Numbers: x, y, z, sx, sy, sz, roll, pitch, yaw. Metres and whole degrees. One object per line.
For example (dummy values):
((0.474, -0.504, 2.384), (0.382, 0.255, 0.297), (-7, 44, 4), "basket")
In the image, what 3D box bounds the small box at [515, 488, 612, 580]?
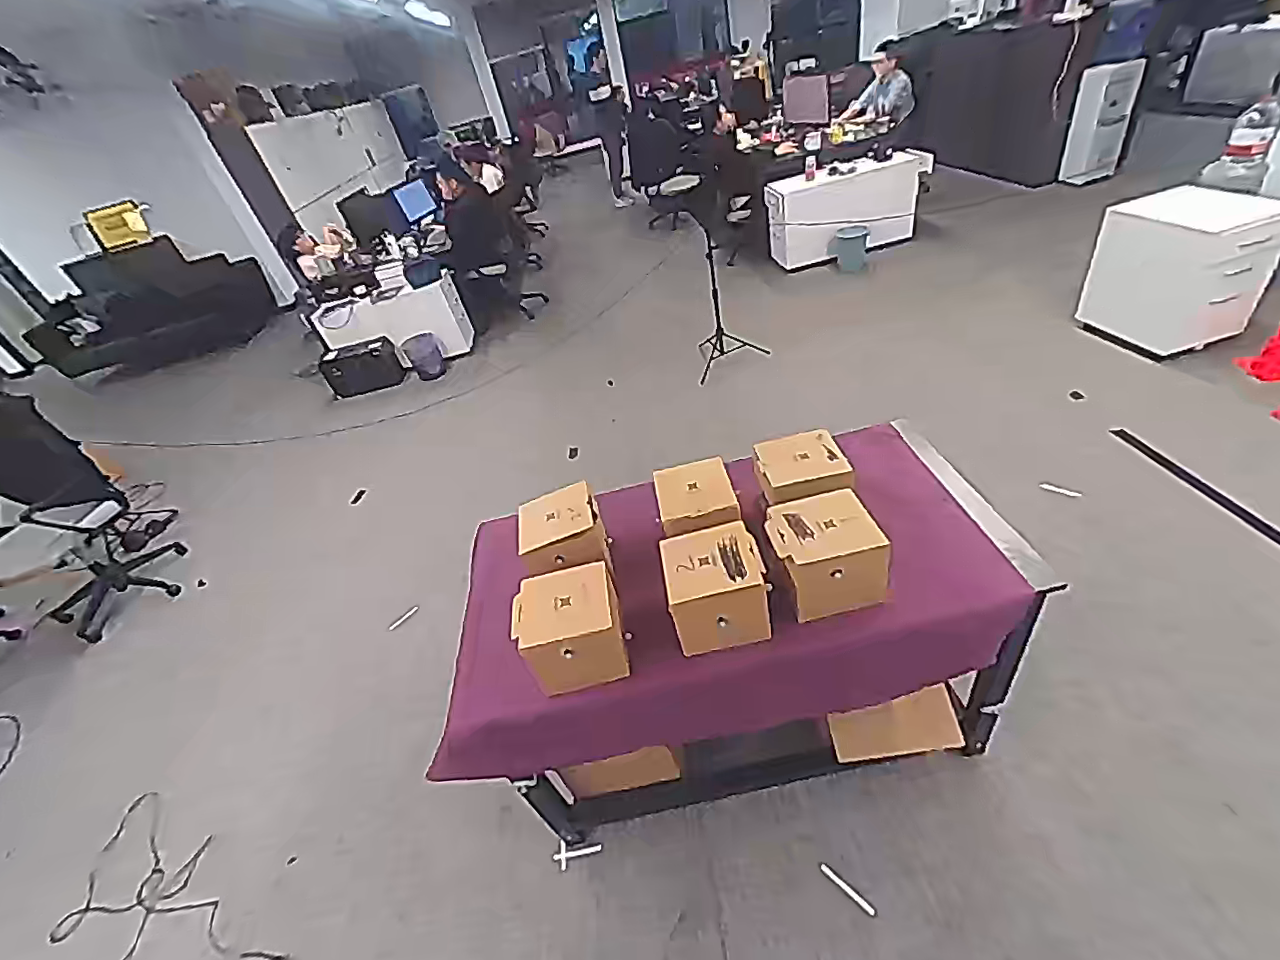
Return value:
((-0.177, 0.151, 1.253), (0.179, 0.176, 0.168), (-15, 39, 0), "small box")

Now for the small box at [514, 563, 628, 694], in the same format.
((-0.132, 0.295, 1.064), (0.179, 0.176, 0.168), (-14, 39, 1), "small box")
